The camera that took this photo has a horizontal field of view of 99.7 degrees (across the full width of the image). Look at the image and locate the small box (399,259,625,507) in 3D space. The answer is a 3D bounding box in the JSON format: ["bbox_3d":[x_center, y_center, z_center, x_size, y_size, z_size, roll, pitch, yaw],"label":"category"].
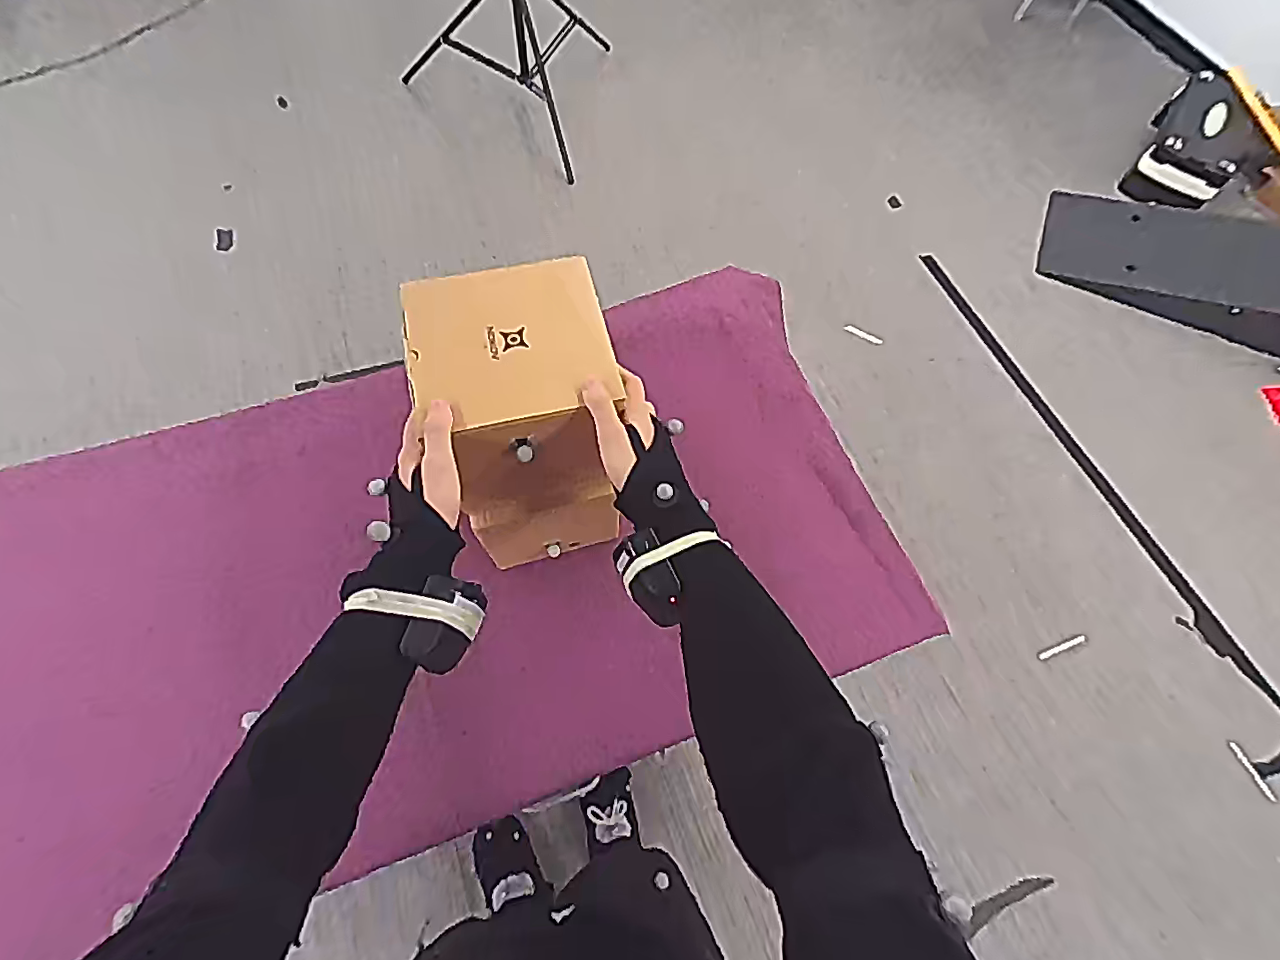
[{"bbox_3d":[-0.120,-0.089,0.548,0.179,0.176,0.168,-13,68,-8],"label":"small box"}]

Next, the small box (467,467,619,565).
[{"bbox_3d":[-0.130,-0.011,0.690,0.168,0.176,0.179,-15,69,-9],"label":"small box"}]
